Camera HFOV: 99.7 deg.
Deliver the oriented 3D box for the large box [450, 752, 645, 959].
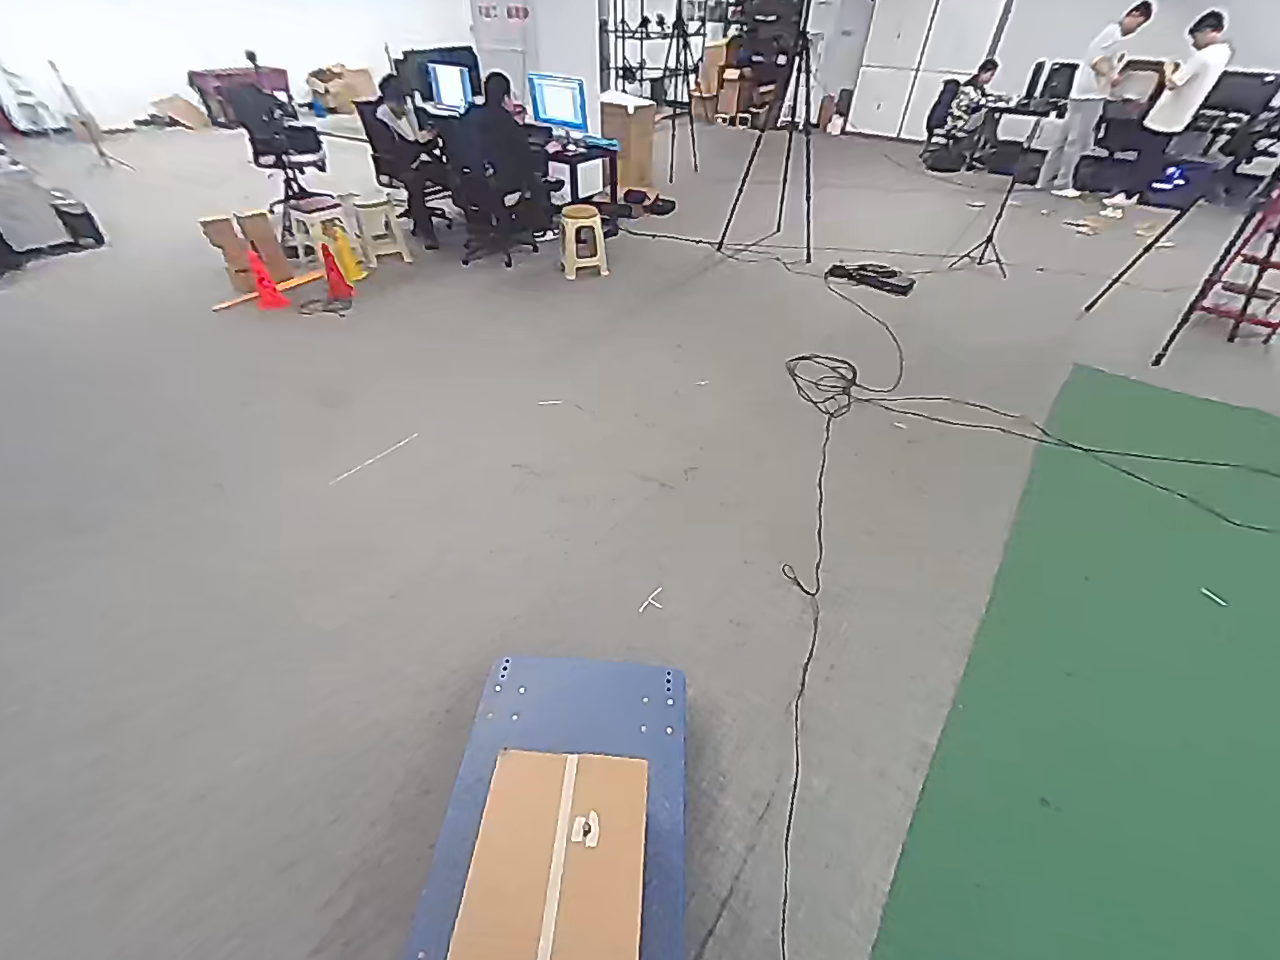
[{"bbox_3d":[-0.155,0.825,1.083,0.320,0.320,0.408,4,40,2],"label":"large box"}]
